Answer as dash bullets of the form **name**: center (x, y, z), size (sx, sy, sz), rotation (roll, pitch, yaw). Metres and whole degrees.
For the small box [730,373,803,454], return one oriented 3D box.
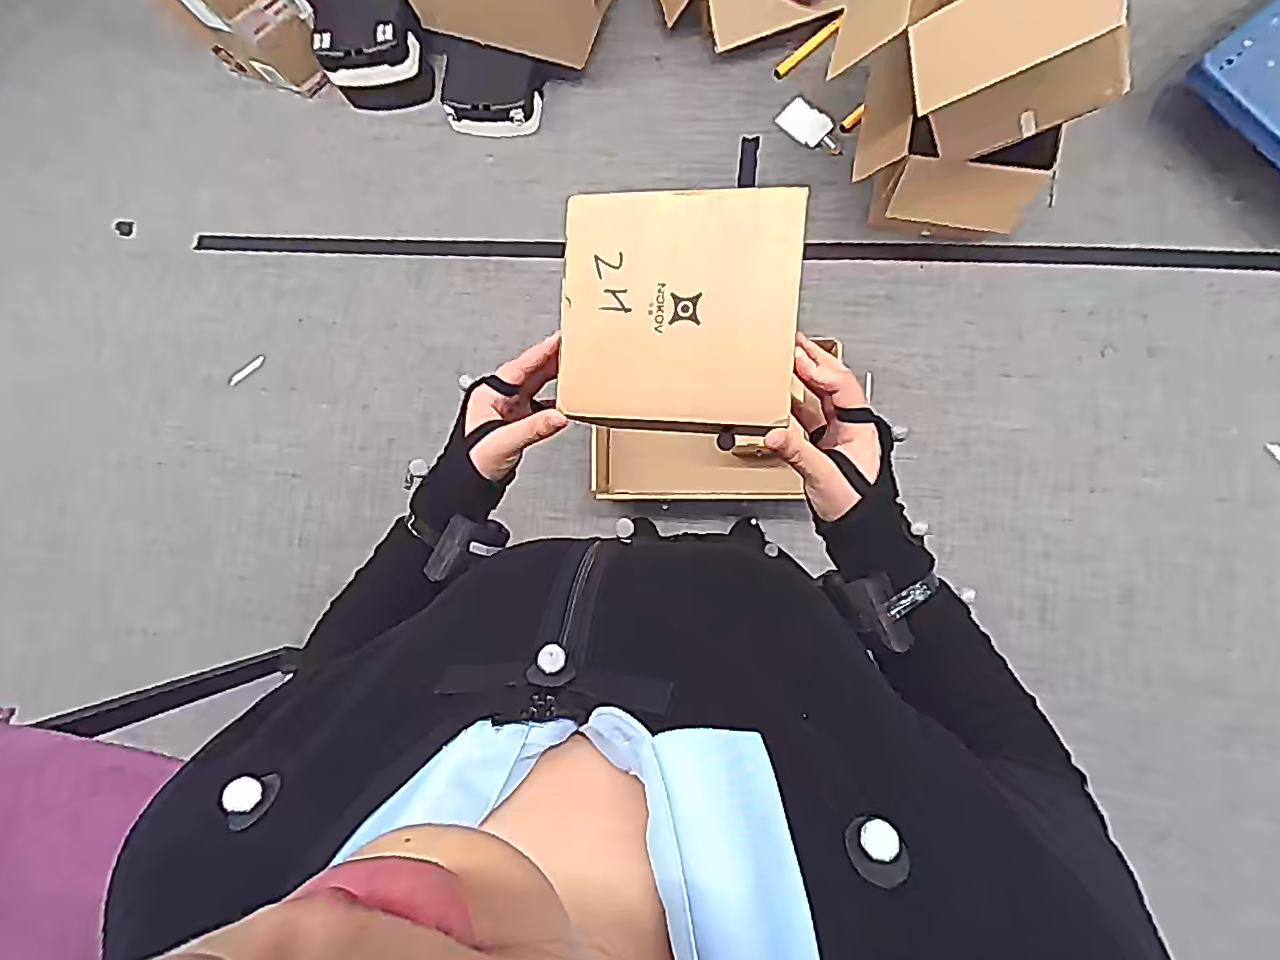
- **small box**: center (0.317, -0.164, 1.375), size (0.168, 0.176, 0.179), rotation (0, 86, 7)

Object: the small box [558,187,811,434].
- **small box**: center (0.043, -0.128, 0.467), size (0.179, 0.176, 0.168), rotation (4, 93, 12)
